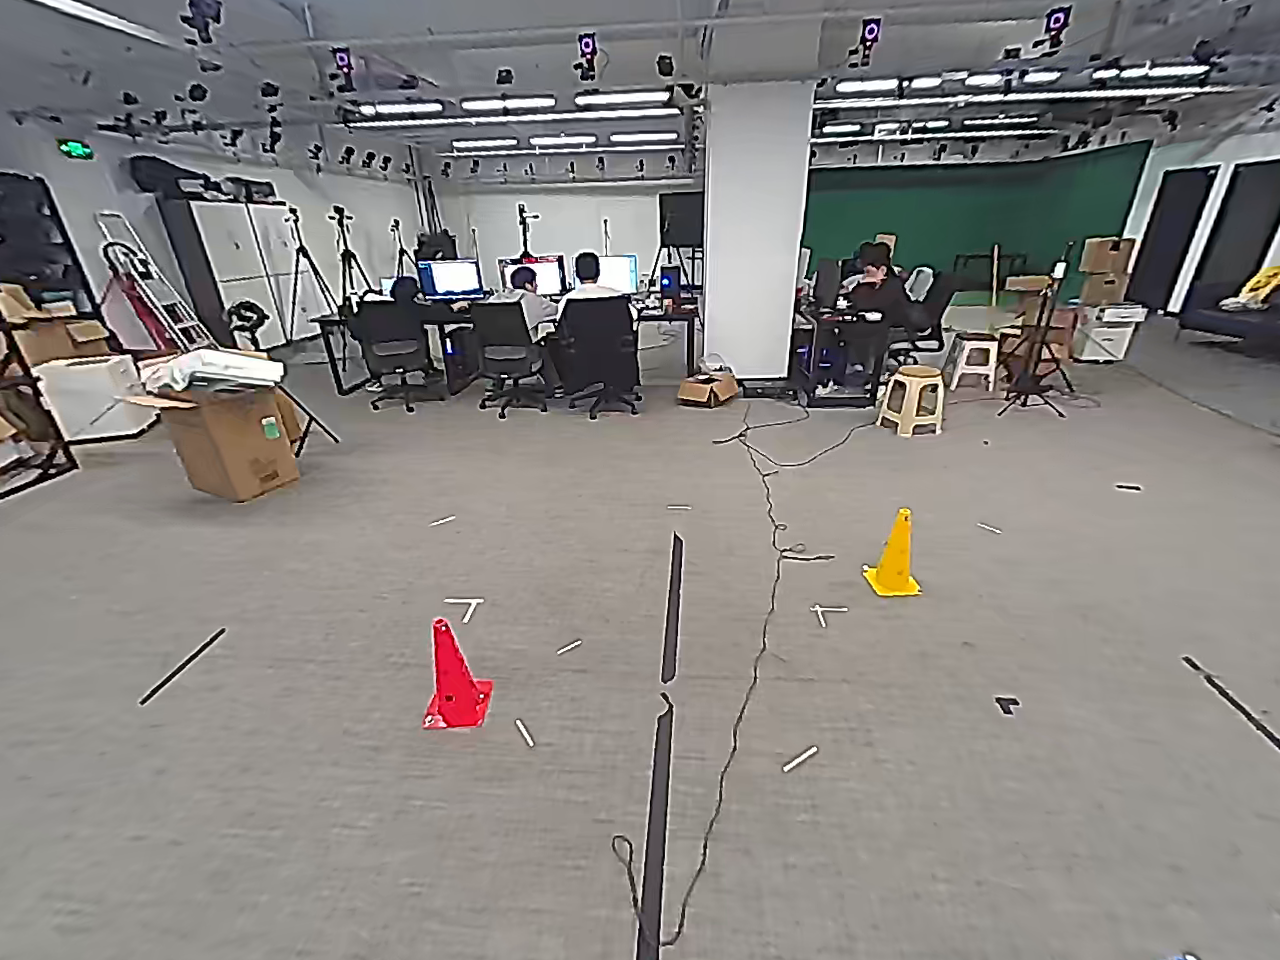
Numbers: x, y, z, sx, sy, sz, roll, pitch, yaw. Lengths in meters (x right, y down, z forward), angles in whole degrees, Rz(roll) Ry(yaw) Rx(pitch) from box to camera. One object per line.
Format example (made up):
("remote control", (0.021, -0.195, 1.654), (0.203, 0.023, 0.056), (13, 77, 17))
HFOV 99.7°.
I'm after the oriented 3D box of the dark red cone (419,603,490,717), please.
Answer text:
("dark red cone", (-0.619, 0.569, 1.748), (0.201, 0.394, 0.202), (-1, 25, -2))
